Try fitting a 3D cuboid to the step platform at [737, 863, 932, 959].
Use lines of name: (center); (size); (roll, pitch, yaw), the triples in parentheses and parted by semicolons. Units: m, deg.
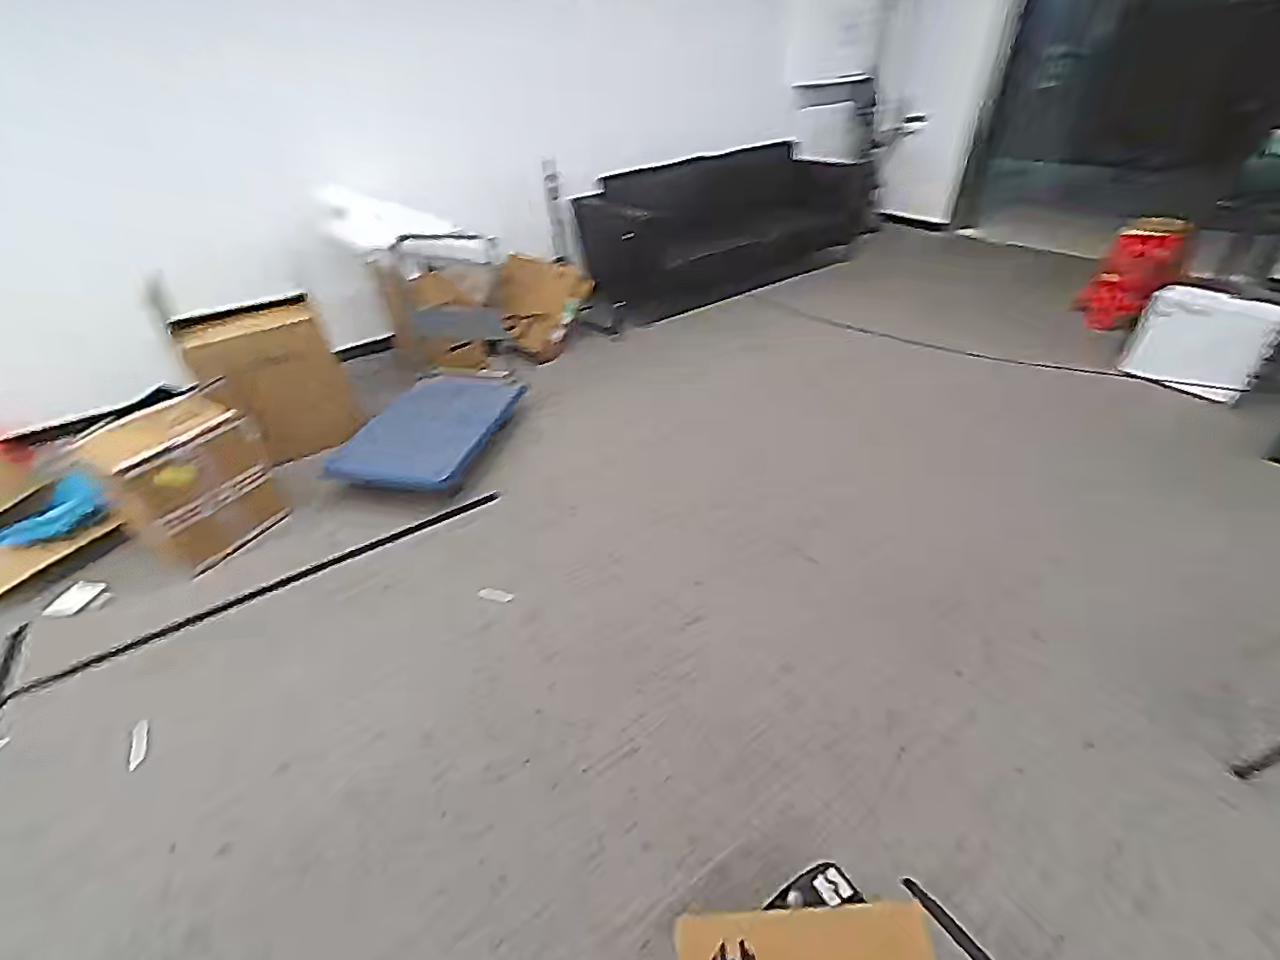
step platform: (0.461, 0.997, 0.826); (0.286, 0.204, 0.684); (-24, 41, -25)
